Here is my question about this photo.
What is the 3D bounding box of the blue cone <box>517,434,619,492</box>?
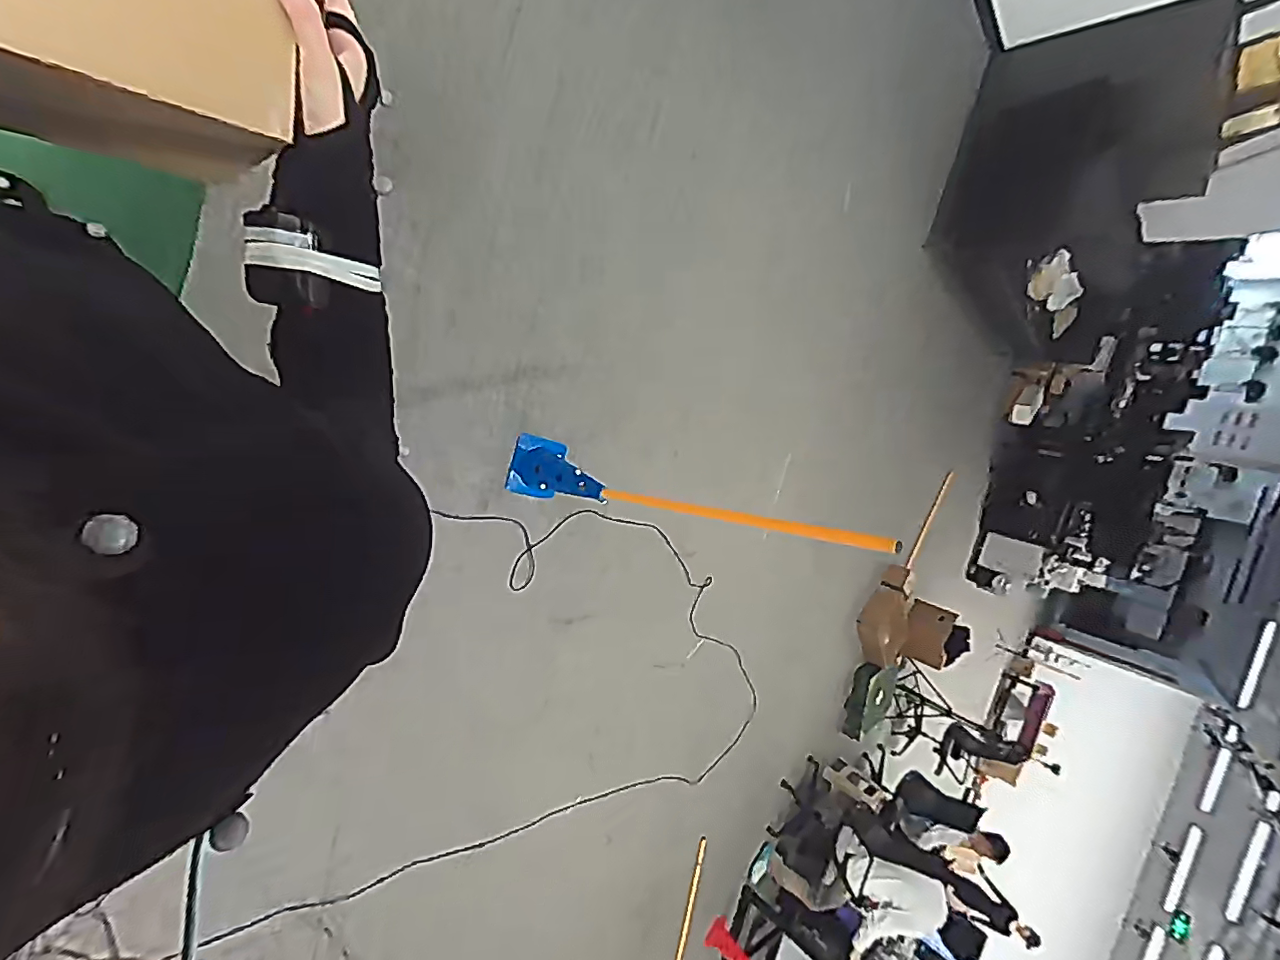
[{"bbox_3d":[-0.208,-0.022,1.696,0.192,0.380,0.193,10,95,-46],"label":"blue cone"}]
